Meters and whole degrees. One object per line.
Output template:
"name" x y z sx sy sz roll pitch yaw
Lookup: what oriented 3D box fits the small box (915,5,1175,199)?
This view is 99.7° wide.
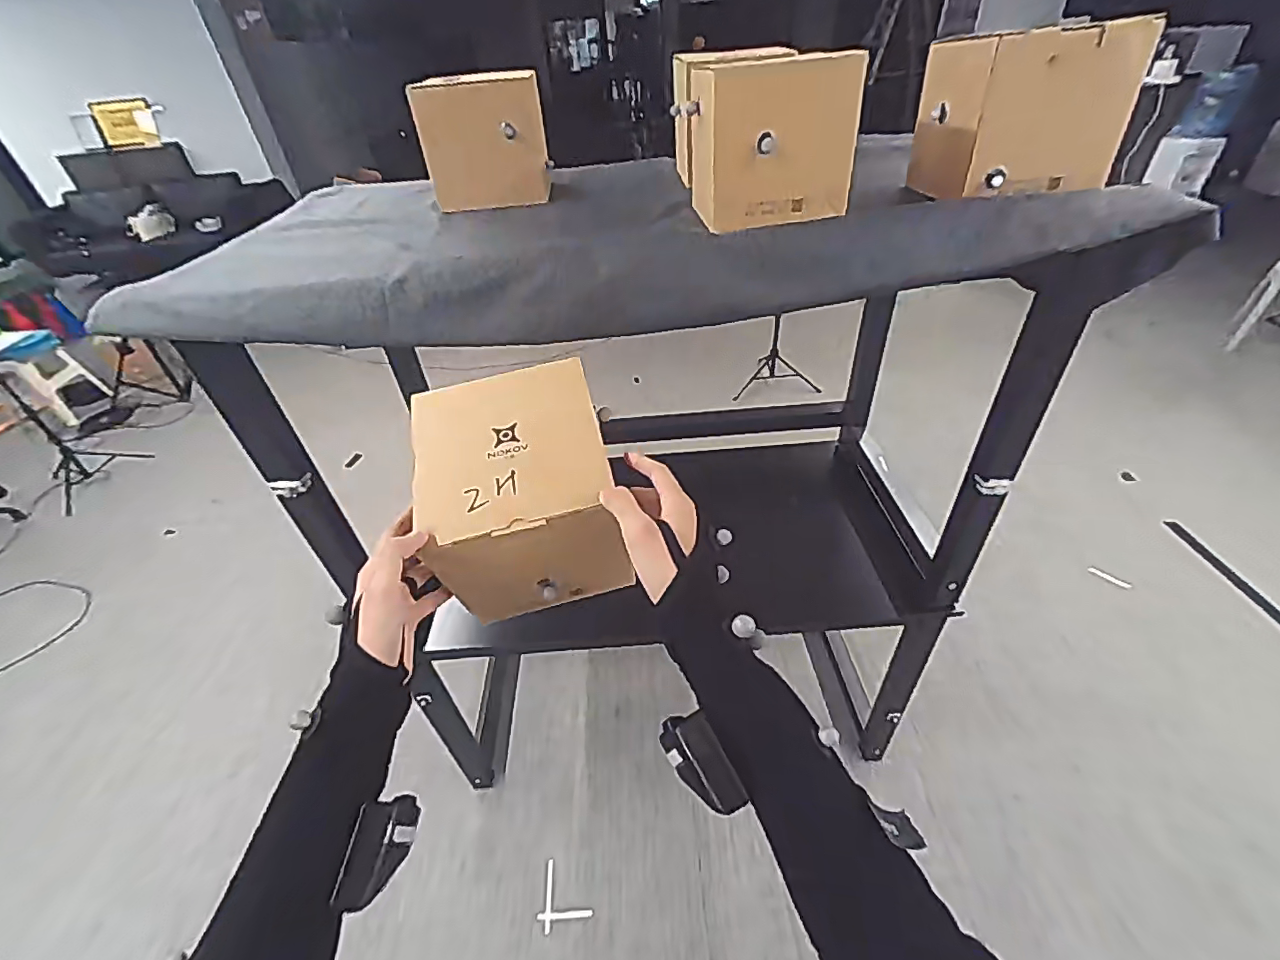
"small box" 0.463 -0.447 0.656 0.168 0.176 0.179 -4 36 3

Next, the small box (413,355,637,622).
"small box" -0.105 0.013 0.525 0.168 0.176 0.179 -14 57 -4

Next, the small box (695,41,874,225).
"small box" 0.163 -0.420 0.665 0.168 0.176 0.179 -6 37 0

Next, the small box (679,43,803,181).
"small box" 0.152 -0.596 0.880 0.168 0.176 0.179 -5 39 0
